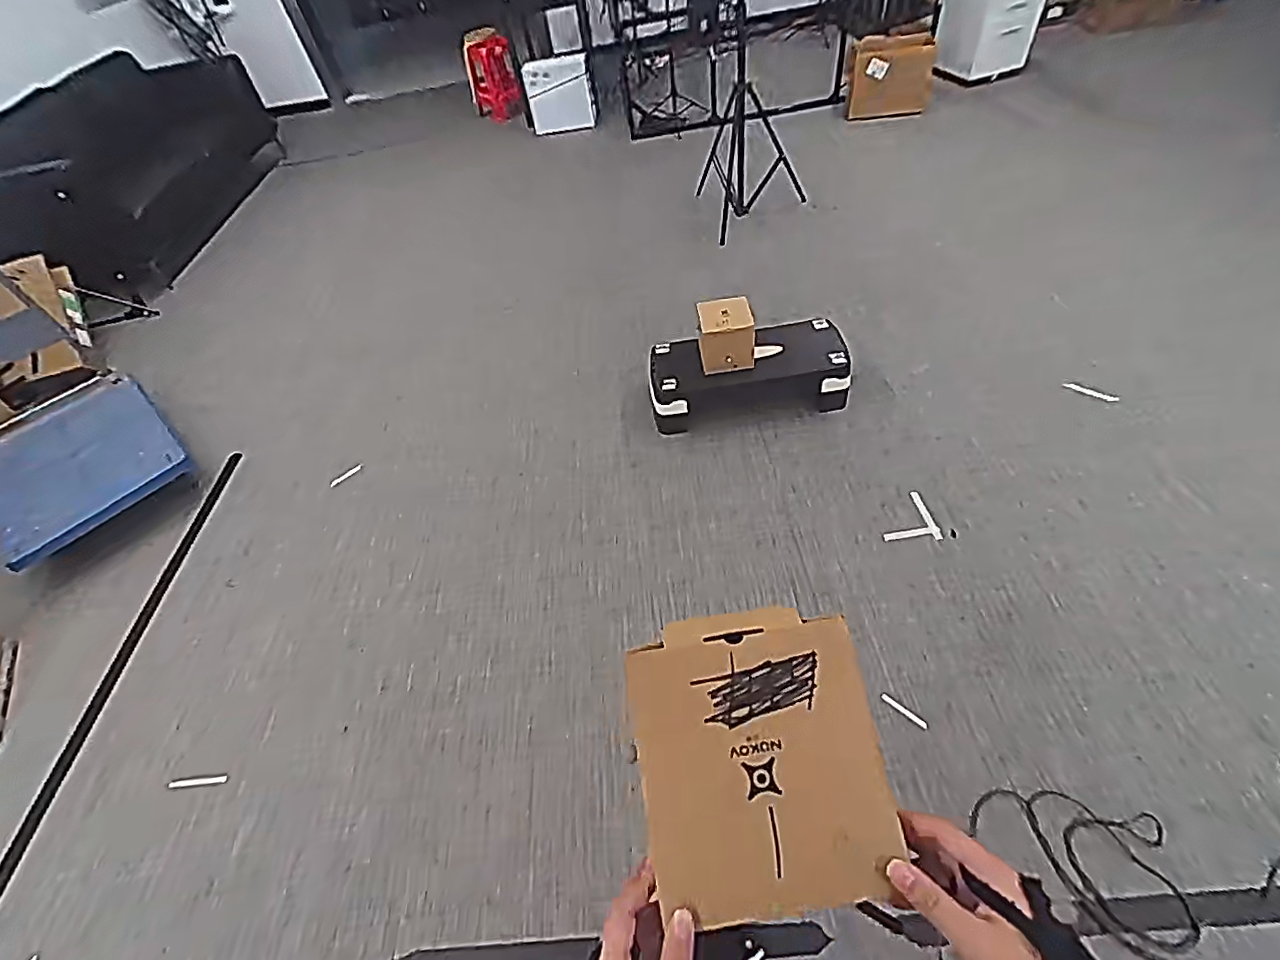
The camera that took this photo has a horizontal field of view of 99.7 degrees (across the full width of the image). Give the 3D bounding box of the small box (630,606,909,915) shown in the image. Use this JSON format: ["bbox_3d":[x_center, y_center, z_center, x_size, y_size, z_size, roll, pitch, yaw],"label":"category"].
[{"bbox_3d":[0.084,0.211,0.449,0.168,0.176,0.179,-9,72,-1],"label":"small box"}]

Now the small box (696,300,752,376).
[{"bbox_3d":[0.278,-0.474,1.808,0.168,0.176,0.179,-7,50,5],"label":"small box"}]

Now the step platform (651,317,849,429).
[{"bbox_3d":[0.382,-0.389,1.947,0.684,0.204,0.286,-9,49,3],"label":"step platform"}]
